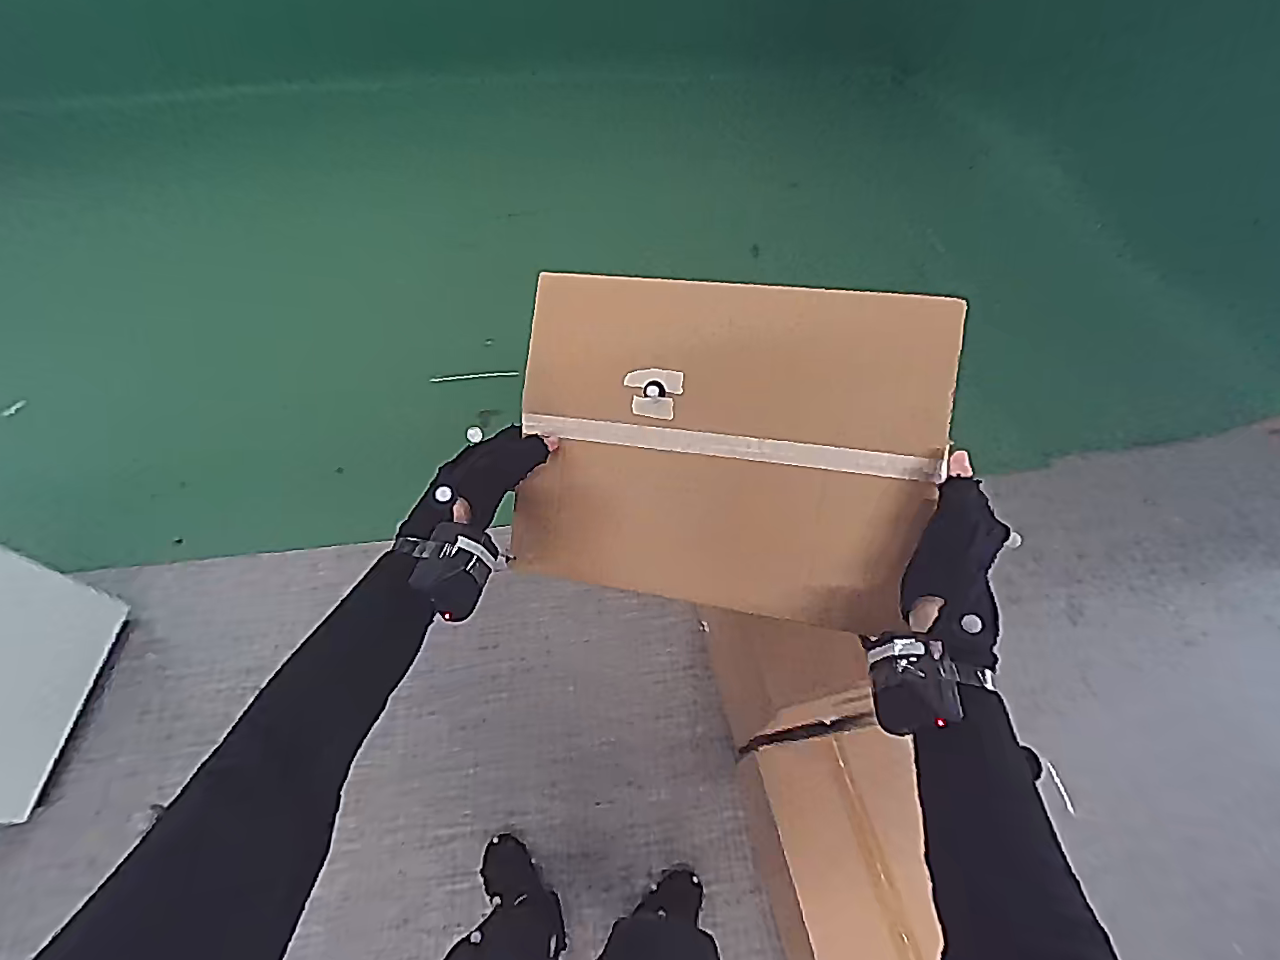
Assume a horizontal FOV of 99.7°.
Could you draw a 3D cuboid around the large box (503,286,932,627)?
[{"bbox_3d":[0.092,-0.038,0.679,0.408,0.320,0.320,7,92,13],"label":"large box"}]
